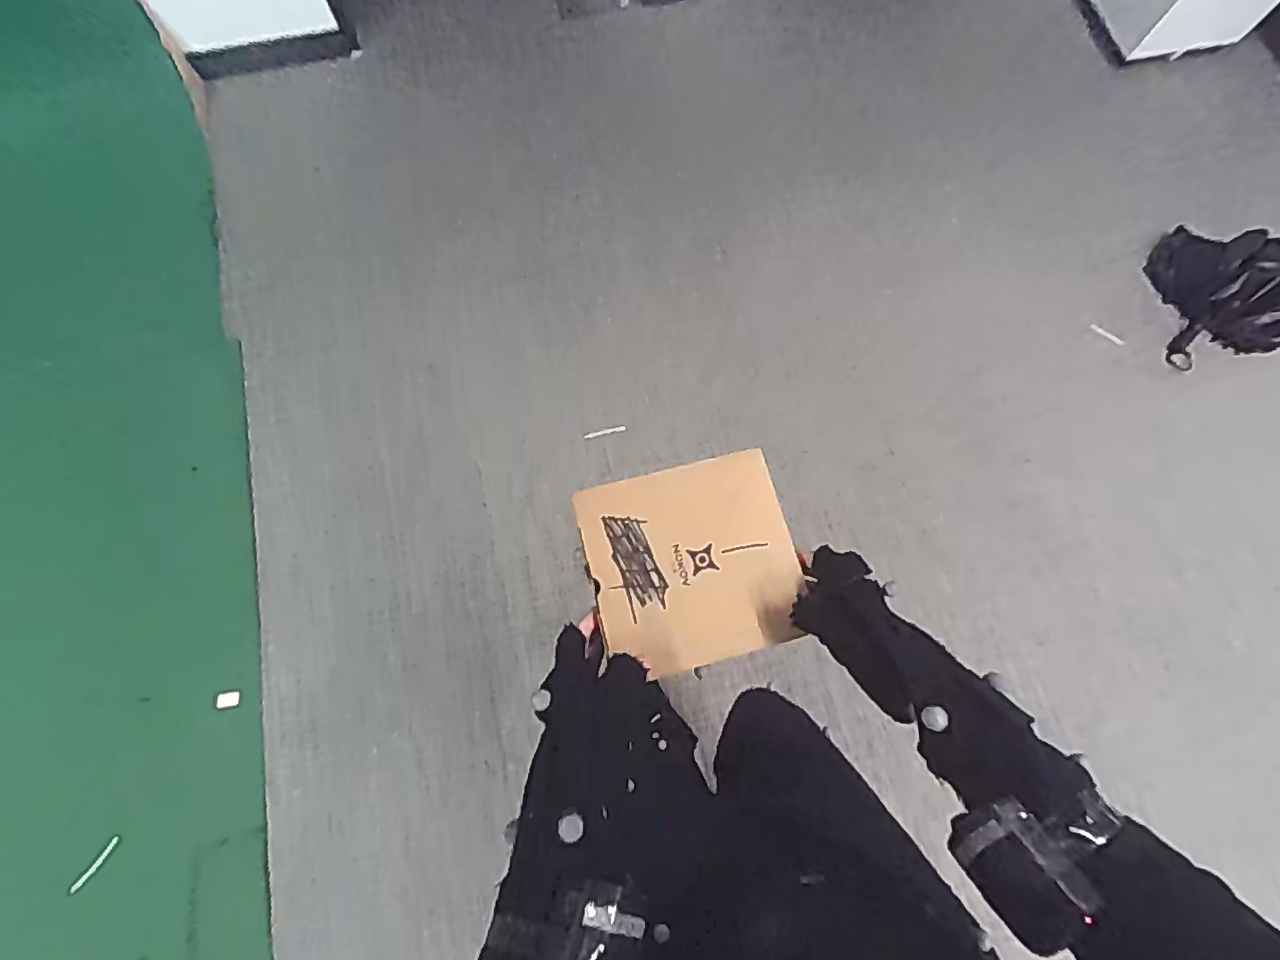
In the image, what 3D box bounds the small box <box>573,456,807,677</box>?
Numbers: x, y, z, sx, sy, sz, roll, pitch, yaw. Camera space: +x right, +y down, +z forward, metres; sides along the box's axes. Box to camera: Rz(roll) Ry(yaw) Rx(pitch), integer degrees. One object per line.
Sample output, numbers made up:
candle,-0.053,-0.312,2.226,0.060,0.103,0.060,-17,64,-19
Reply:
small box,0.040,0.093,0.552,0.179,0.176,0.168,-13,76,-6
